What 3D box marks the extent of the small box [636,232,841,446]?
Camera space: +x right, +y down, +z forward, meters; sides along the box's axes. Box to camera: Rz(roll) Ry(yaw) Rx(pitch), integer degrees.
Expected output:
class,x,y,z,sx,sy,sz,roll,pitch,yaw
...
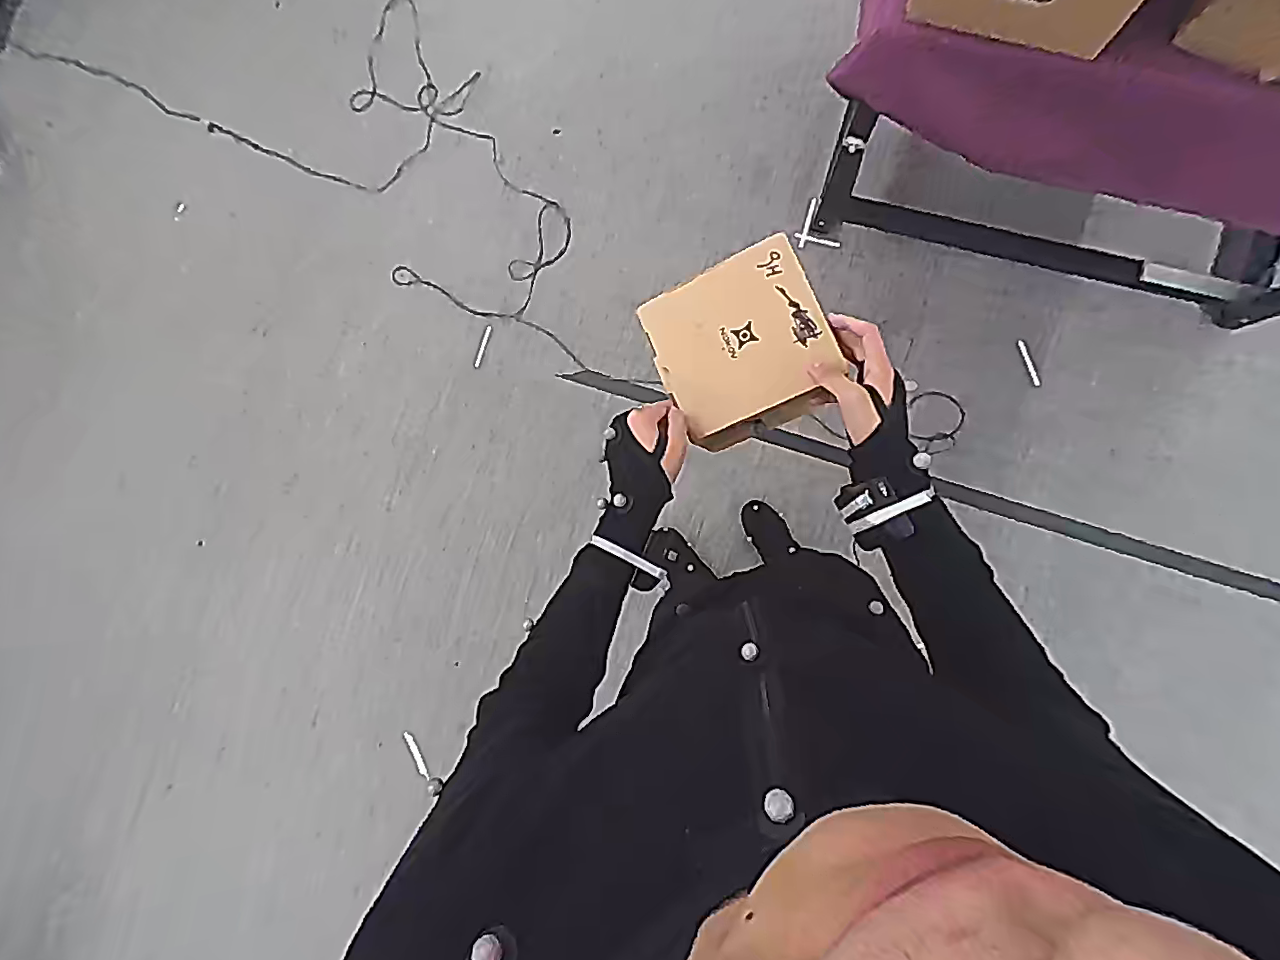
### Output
class,x,y,z,sx,sy,sz,roll,pitch,yaw
small box,0.121,-0.149,0.646,0.179,0.176,0.168,-23,83,15
